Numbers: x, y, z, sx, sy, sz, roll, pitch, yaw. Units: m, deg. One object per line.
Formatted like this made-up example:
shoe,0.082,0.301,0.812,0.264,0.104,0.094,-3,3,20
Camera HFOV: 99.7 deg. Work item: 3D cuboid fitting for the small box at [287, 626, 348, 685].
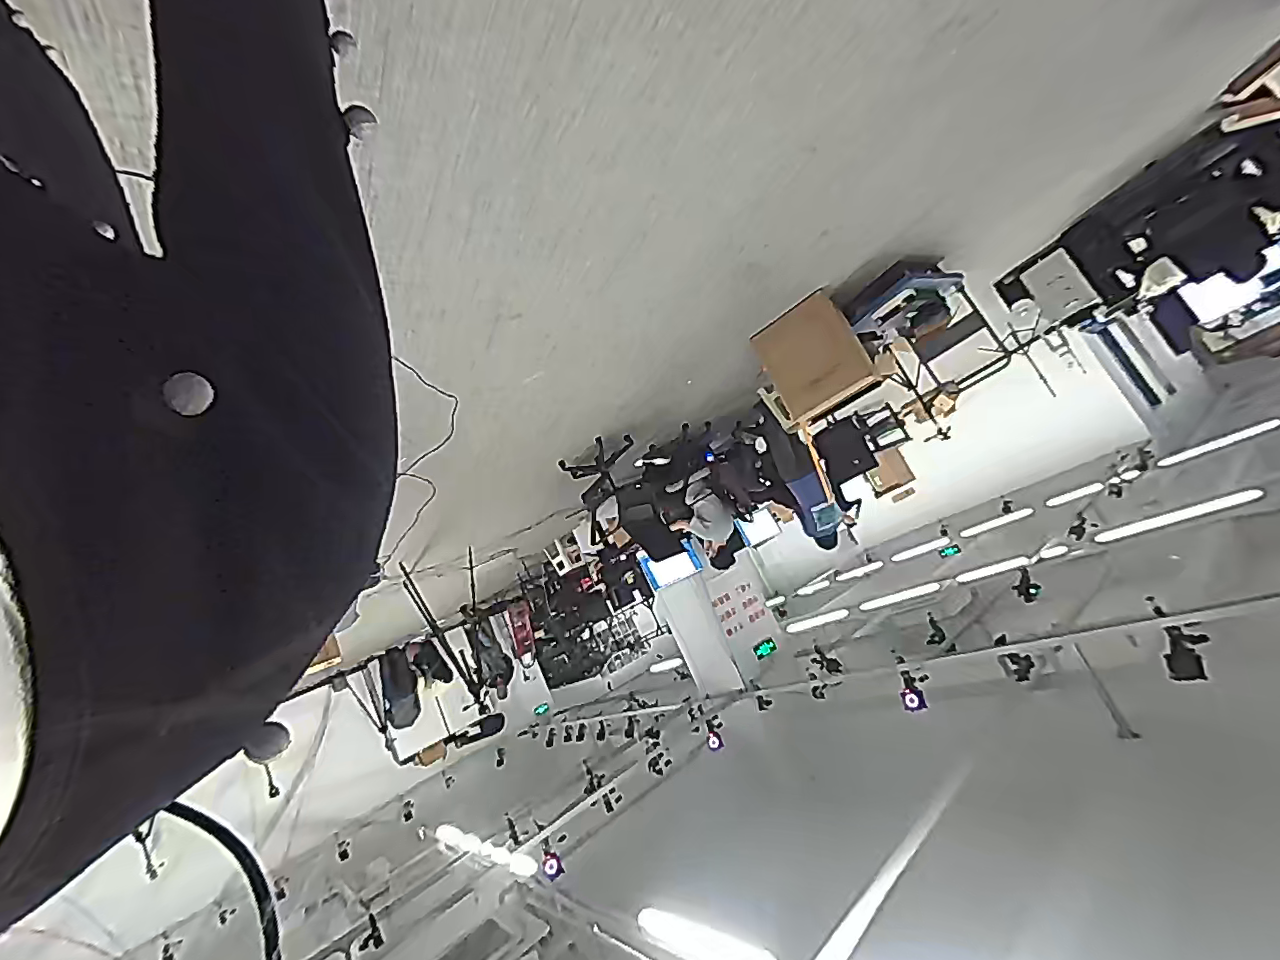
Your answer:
small box,-1.320,0.716,2.214,0.179,0.176,0.168,-17,165,-34
